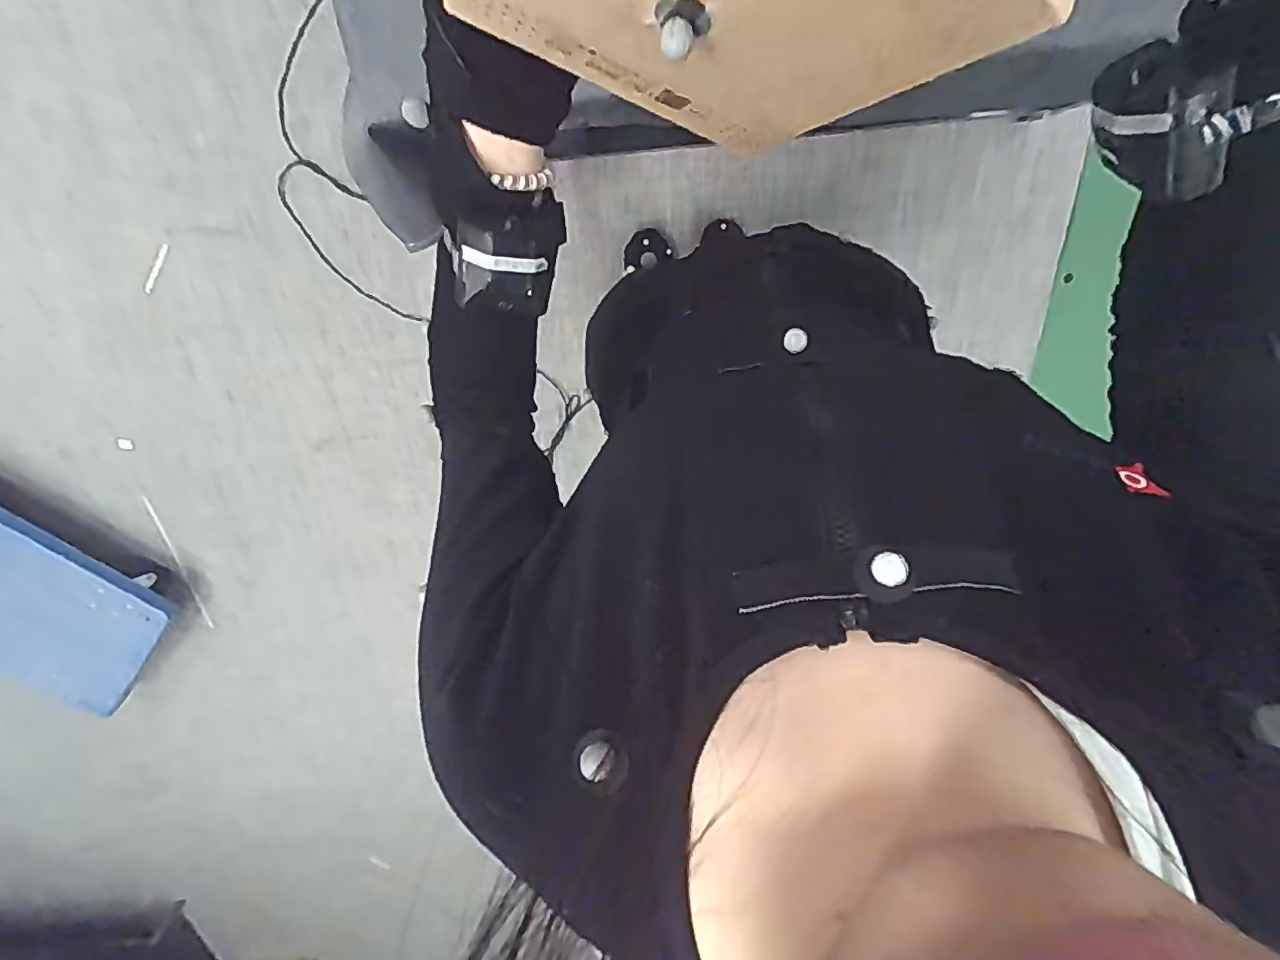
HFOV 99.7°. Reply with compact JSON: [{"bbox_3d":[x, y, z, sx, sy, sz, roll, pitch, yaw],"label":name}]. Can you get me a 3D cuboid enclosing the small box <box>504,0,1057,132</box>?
[{"bbox_3d":[0.042,-0.254,0.181,0.168,0.176,0.179,7,103,-27],"label":"small box"}]
